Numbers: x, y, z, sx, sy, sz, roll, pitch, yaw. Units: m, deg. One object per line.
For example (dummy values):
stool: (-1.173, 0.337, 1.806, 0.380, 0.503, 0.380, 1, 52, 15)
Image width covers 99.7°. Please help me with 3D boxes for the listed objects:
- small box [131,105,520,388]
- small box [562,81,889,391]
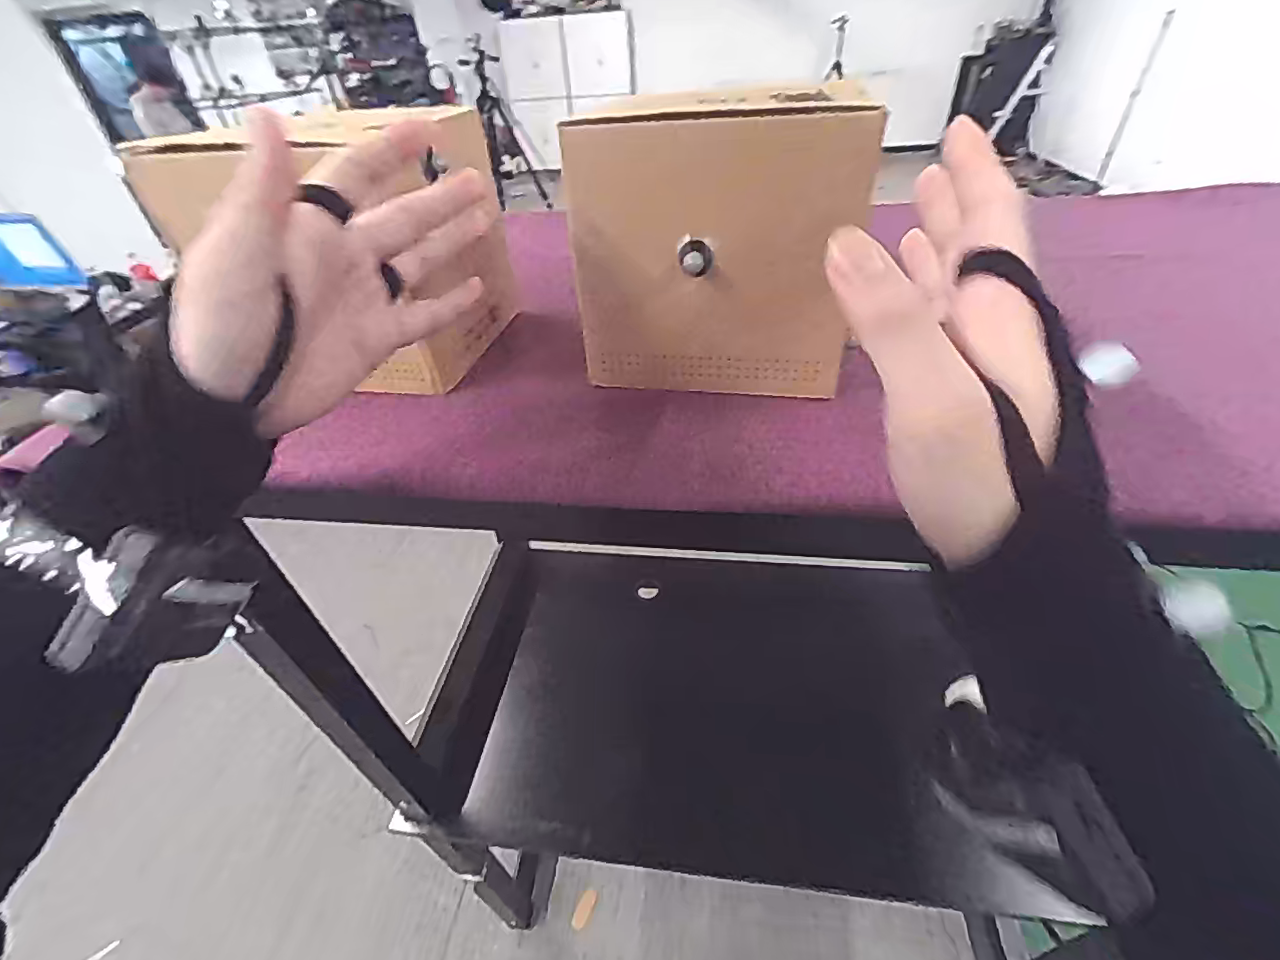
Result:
small box: (-0.218, -0.185, 0.433, 0.179, 0.176, 0.168, 4, 41, 10)
small box: (0.062, -0.176, 0.395, 0.179, 0.176, 0.168, 4, 39, 12)
